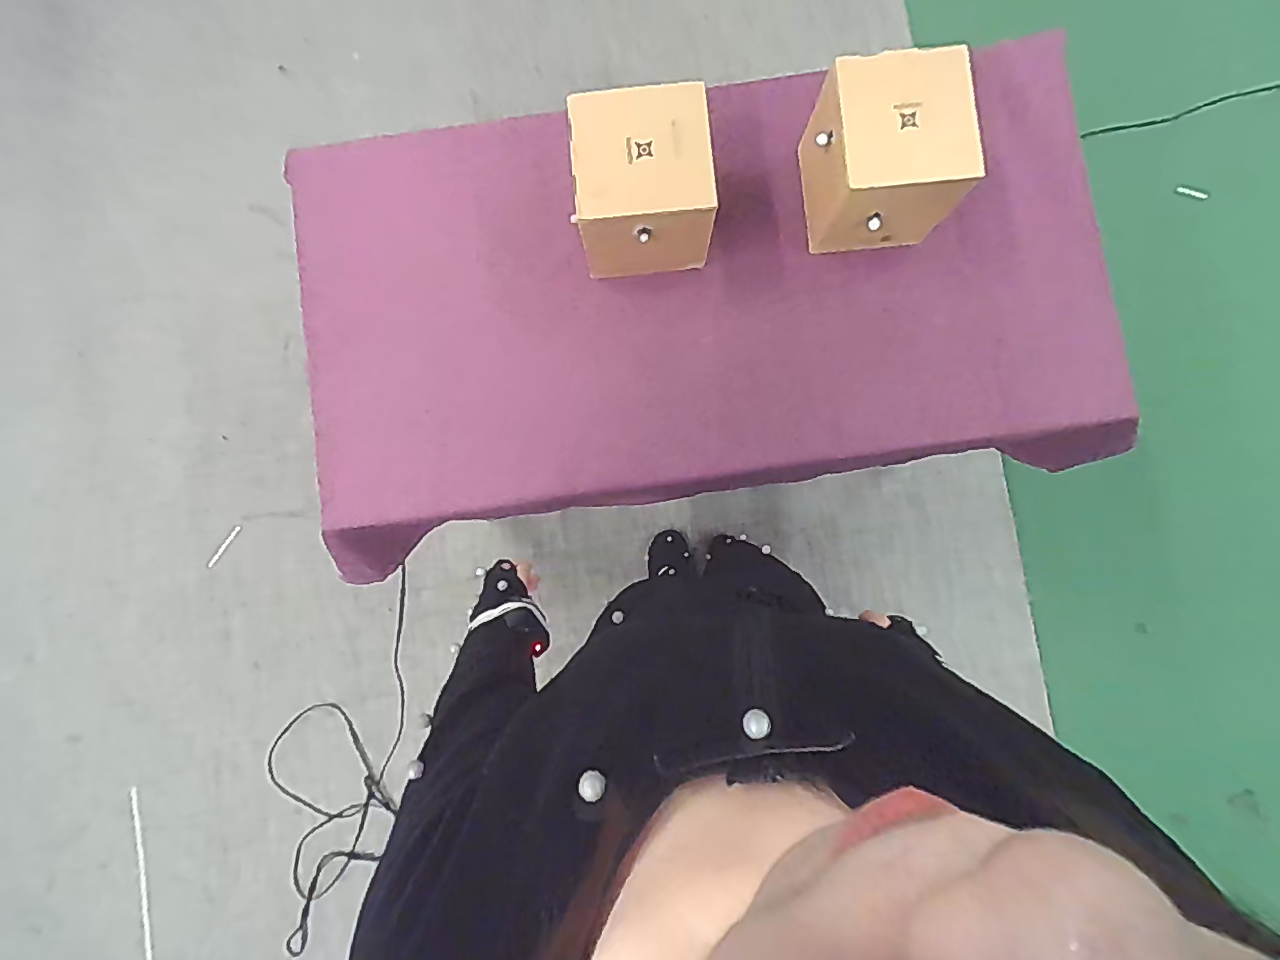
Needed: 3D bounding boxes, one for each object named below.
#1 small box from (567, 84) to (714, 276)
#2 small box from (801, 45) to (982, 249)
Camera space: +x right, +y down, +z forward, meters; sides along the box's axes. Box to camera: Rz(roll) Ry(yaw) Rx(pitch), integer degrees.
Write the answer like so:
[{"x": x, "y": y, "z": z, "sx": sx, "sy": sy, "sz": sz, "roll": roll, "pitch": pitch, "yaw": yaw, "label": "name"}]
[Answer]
[{"x": 0.003, "y": -0.398, "z": 0.747, "sx": 0.179, "sy": 0.176, "sz": 0.168, "roll": -5, "pitch": 86, "yaw": 1, "label": "small box"}, {"x": 0.329, "y": -0.436, "z": 0.739, "sx": 0.168, "sy": 0.176, "sz": 0.179, "roll": -5, "pitch": 84, "yaw": 2, "label": "small box"}]
